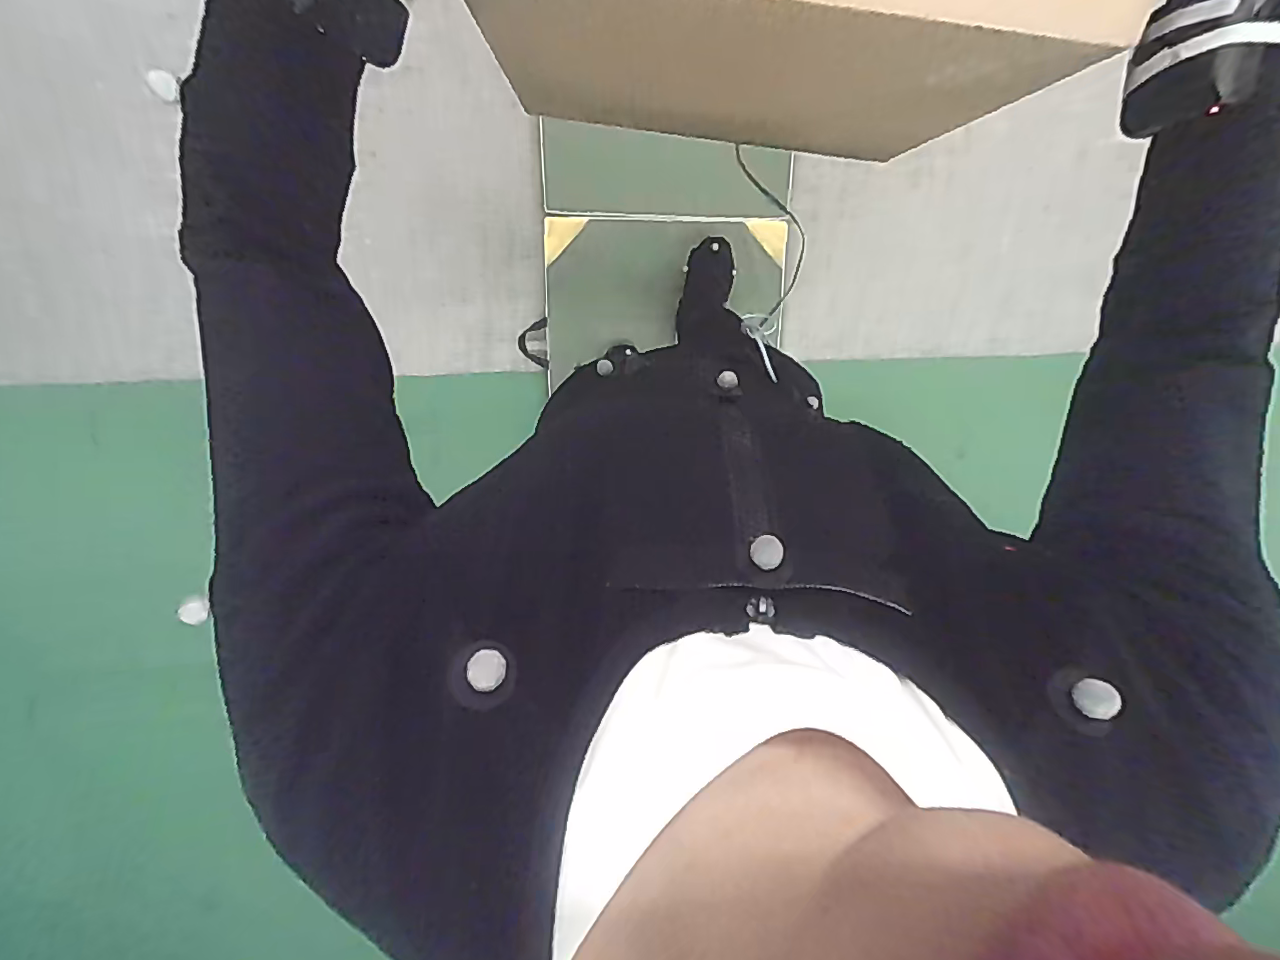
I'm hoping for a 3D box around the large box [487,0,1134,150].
[{"bbox_3d":[0.098,-0.473,0.402,0.408,0.320,0.320,4,110,-5],"label":"large box"}]
